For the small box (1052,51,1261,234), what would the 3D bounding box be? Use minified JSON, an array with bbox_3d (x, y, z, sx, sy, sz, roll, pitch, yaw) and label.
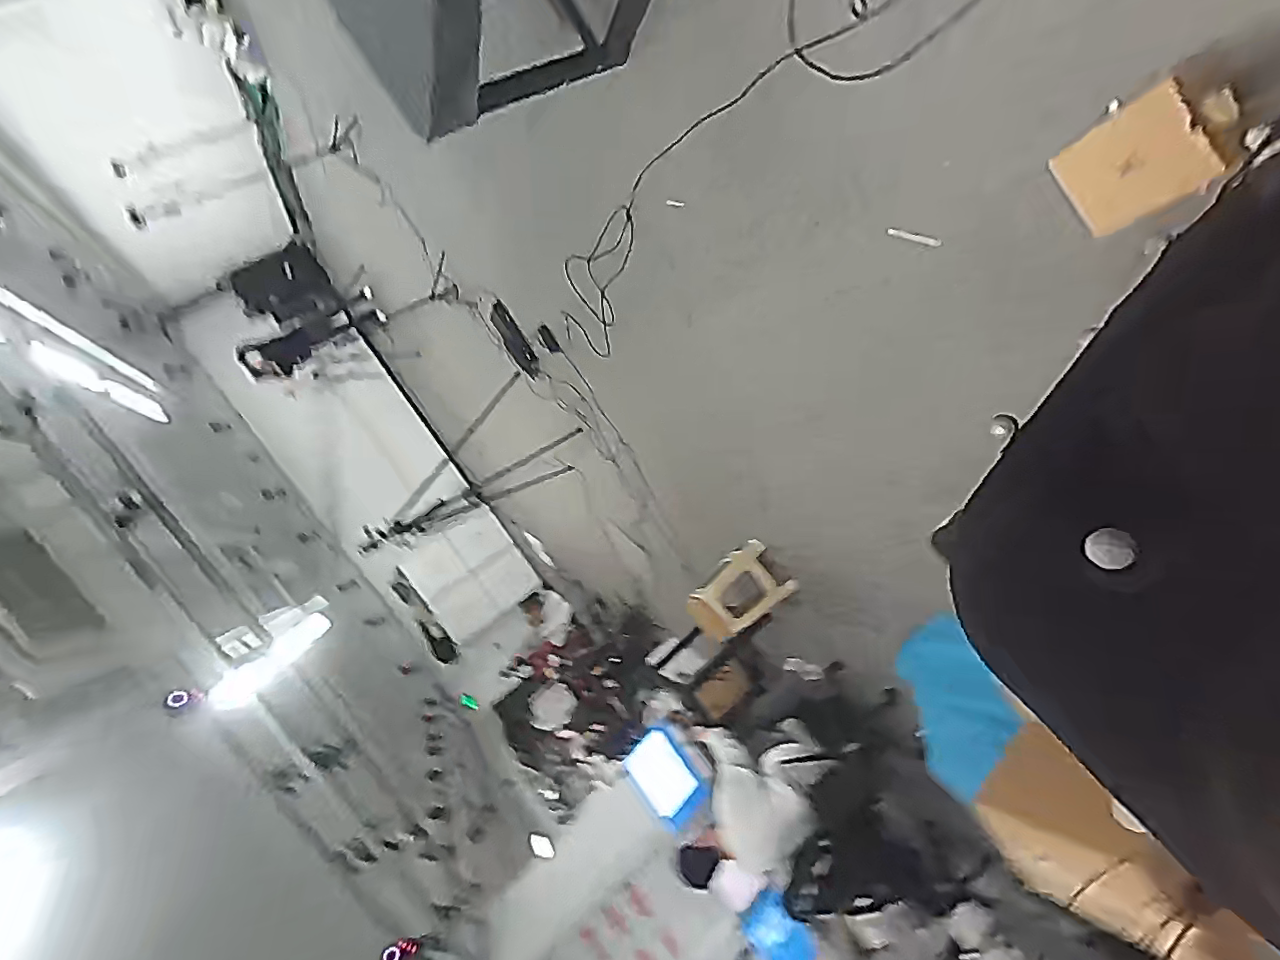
[{"bbox_3d":[0.850,-0.554,0.896,0.168,0.176,0.179,55,157,-2],"label":"small box"}]
